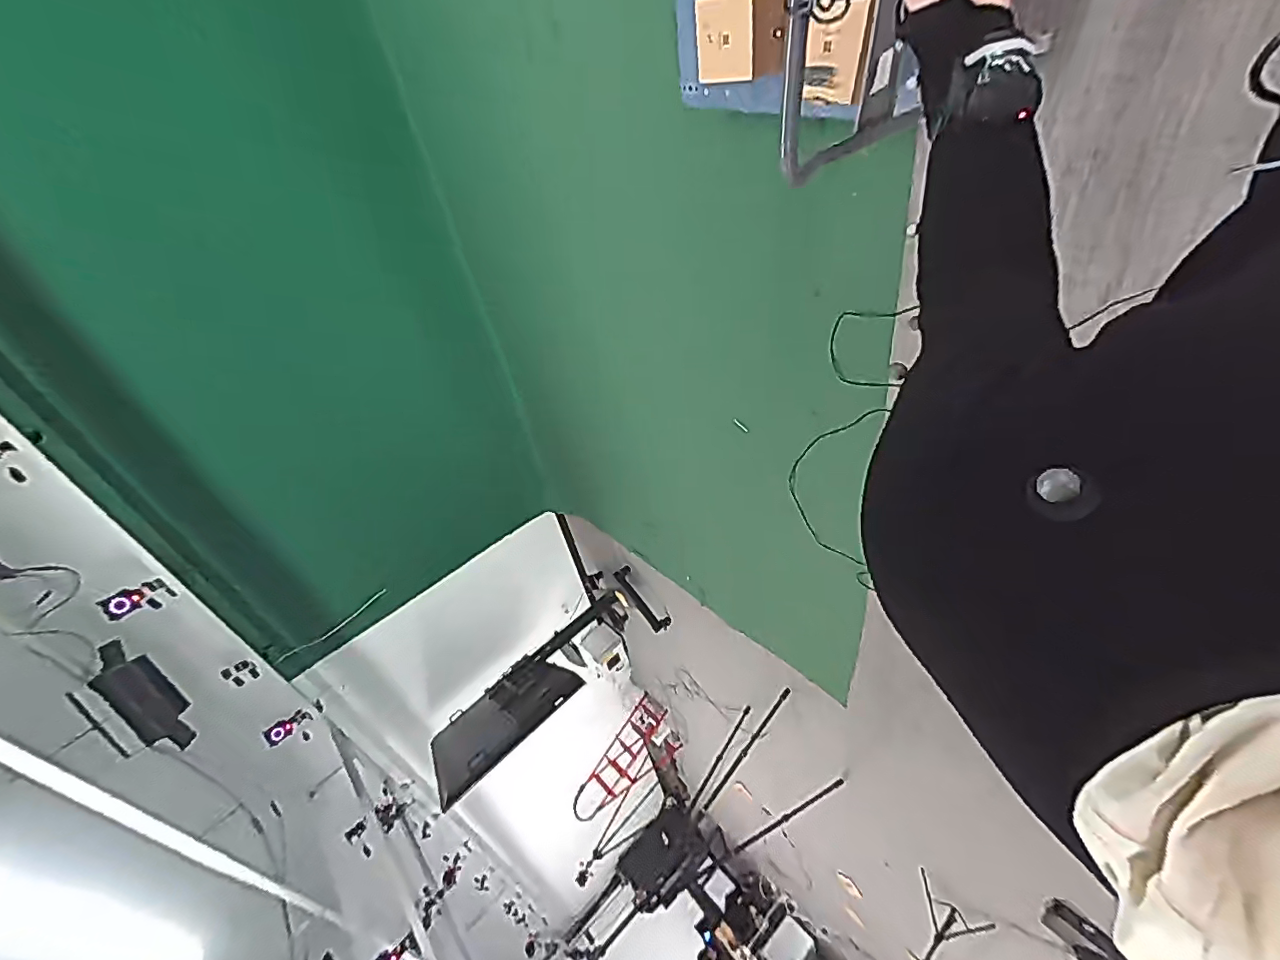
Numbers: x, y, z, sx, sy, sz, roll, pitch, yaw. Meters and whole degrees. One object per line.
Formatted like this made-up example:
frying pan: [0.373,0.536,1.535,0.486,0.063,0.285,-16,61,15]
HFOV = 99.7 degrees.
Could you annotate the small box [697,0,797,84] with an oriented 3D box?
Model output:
small box: [0.264,-1.088,1.324,0.179,0.176,0.168,32,145,38]
